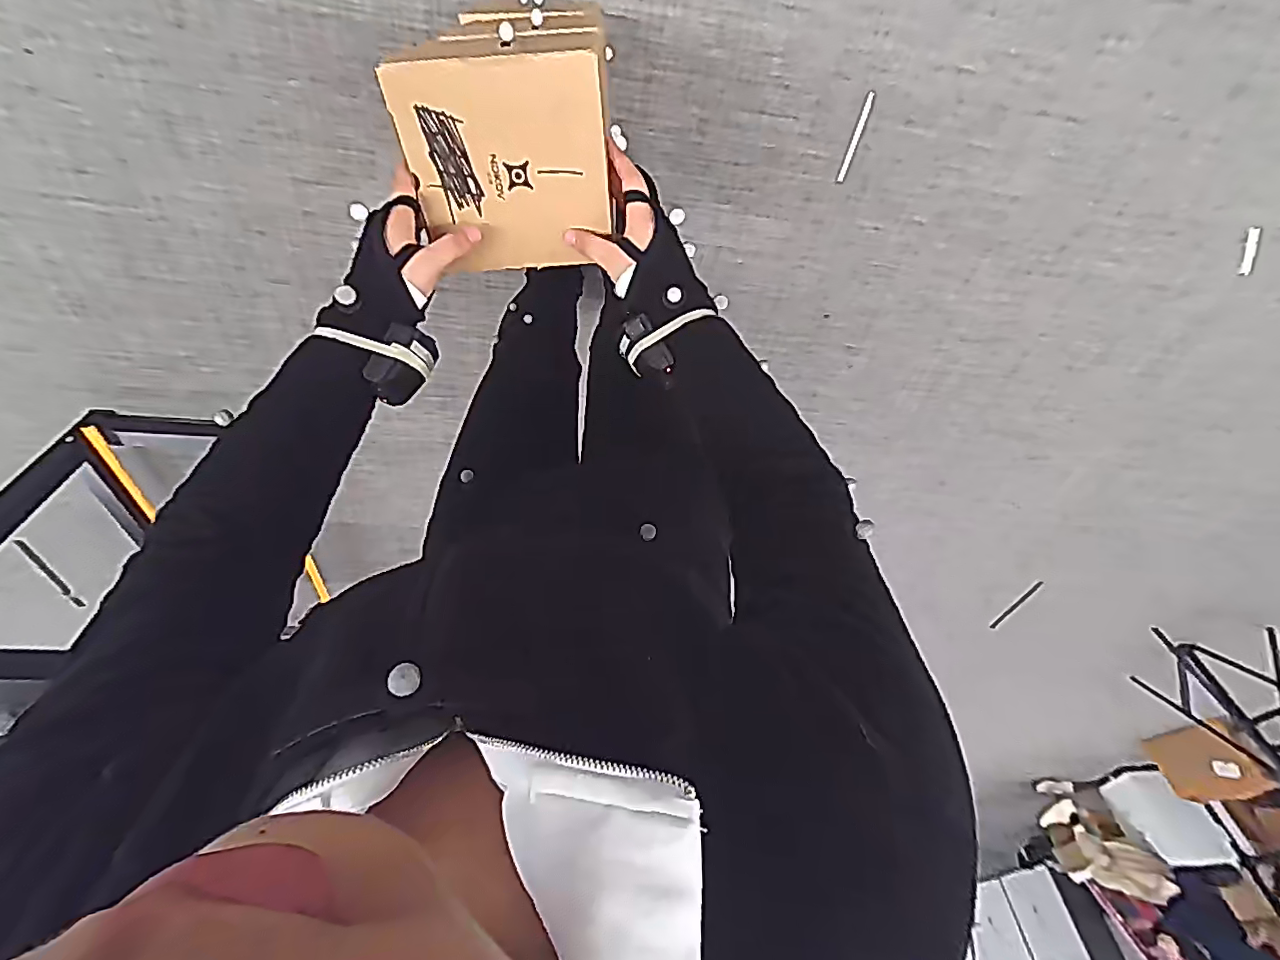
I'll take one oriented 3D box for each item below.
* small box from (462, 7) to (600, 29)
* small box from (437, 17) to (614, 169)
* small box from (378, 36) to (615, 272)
[{"bbox_3d":[-0.137,-0.550,0.764,0.168,0.176,0.179,-1,134,0],"label":"small box"},{"bbox_3d":[-0.119,-0.432,0.651,0.168,0.176,0.179,-3,134,1],"label":"small box"},{"bbox_3d":[-0.117,-0.320,0.530,0.179,0.176,0.168,-3,134,1],"label":"small box"}]
